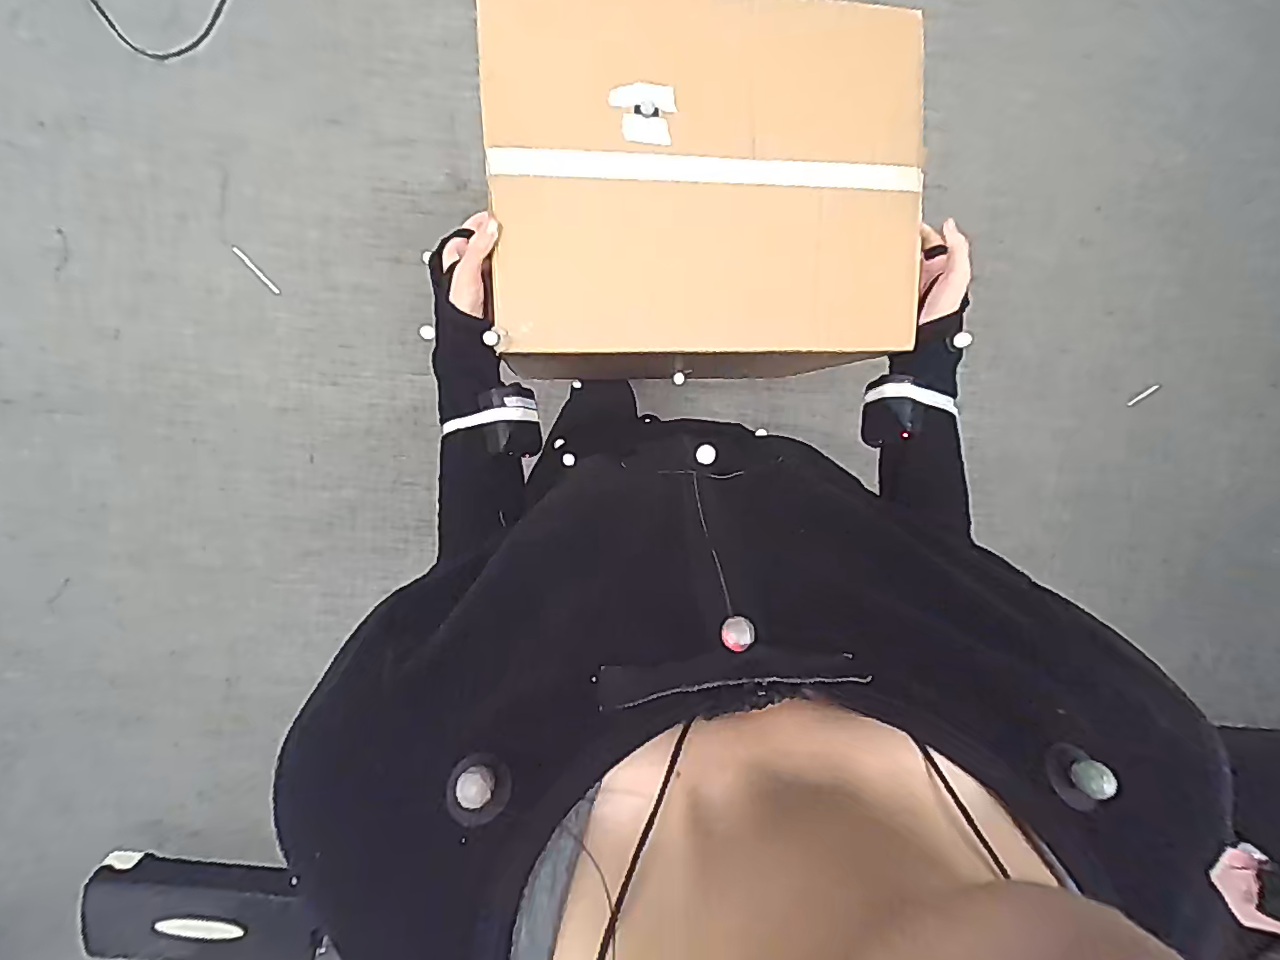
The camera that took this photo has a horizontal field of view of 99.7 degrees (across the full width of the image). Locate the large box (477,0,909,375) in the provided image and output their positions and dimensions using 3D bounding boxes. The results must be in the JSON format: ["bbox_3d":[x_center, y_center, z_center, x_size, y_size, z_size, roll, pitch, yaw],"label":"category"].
[{"bbox_3d":[0.044,-0.296,0.648,0.408,0.320,0.320,-2,96,-8],"label":"large box"}]
